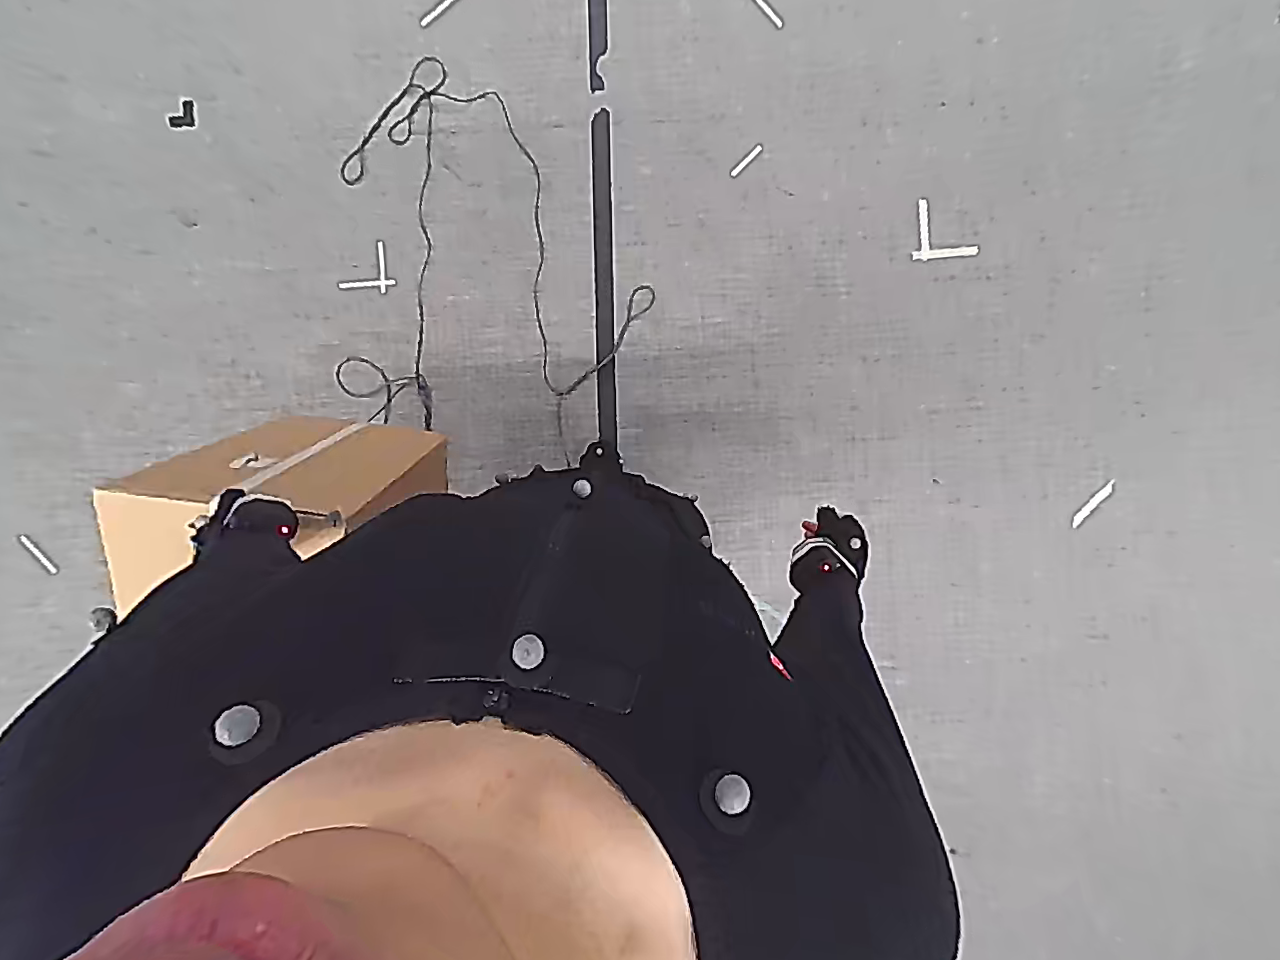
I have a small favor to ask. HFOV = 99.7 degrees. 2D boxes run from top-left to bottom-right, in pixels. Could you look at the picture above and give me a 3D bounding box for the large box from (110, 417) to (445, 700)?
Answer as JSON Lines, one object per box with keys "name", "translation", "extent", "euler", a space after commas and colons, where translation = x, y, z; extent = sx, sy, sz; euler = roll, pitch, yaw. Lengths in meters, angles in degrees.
{"name": "large box", "translation": [-0.554, 0.106, 0.936], "extent": [0.320, 0.408, 0.320], "euler": [6, 111, -2]}
